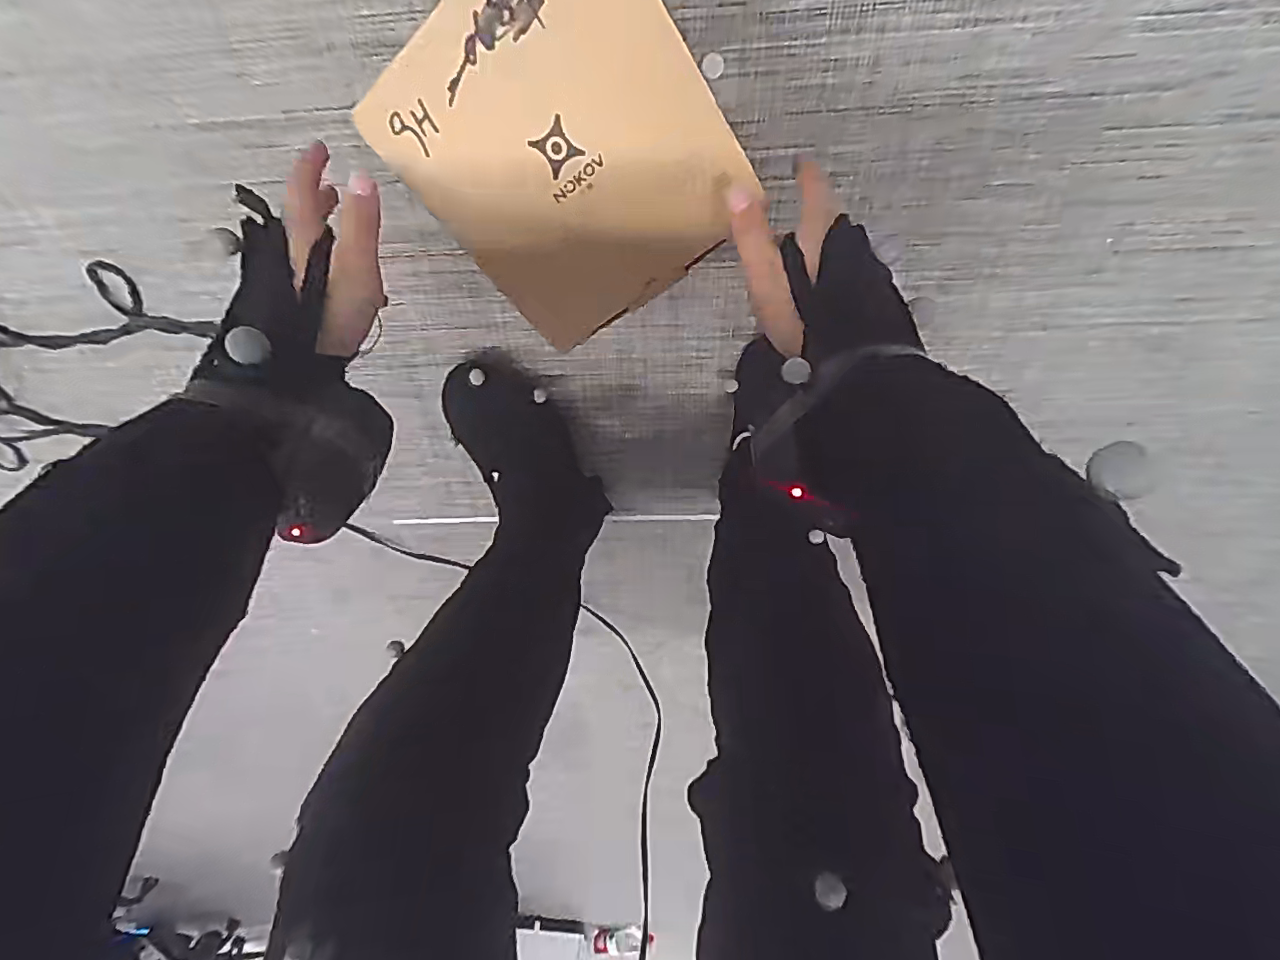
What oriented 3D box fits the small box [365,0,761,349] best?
[{"bbox_3d":[-0.036,-0.232,0.373,0.168,0.176,0.179,-28,123,24],"label":"small box"}]
